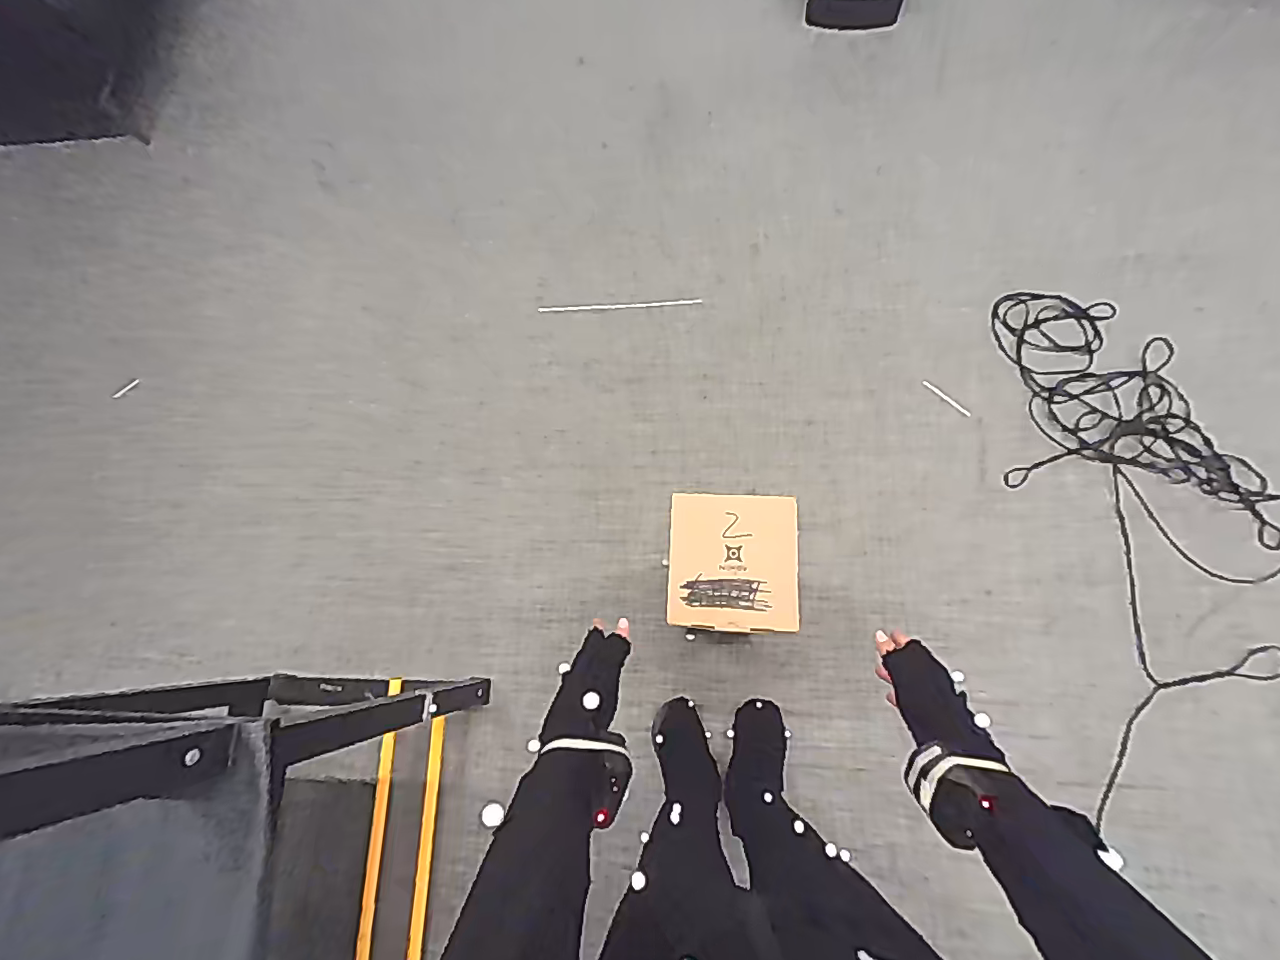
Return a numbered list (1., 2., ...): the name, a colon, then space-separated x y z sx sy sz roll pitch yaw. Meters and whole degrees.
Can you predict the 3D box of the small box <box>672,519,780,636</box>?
1. small box: 0.148 0.172 0.936 0.168 0.176 0.179 3 75 7
